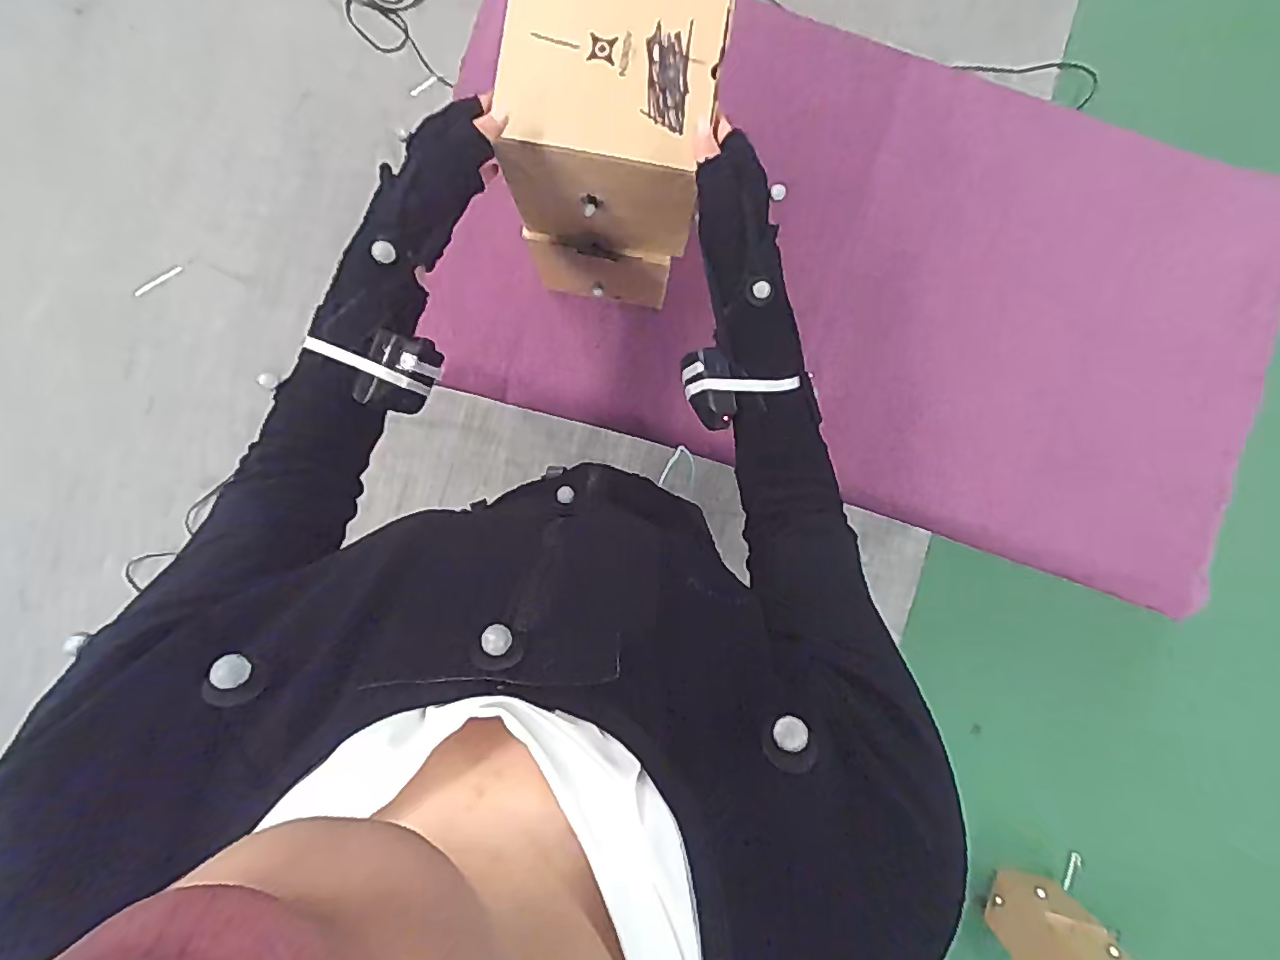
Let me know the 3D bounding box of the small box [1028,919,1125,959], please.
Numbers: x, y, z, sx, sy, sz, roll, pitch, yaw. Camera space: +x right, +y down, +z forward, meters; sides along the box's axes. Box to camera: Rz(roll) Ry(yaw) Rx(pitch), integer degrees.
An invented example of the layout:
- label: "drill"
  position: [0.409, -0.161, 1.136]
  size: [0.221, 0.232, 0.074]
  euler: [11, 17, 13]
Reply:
- label: "small box"
  position: [1.065, 1.204, 1.283]
  size: [0.168, 0.176, 0.179]
  euler: [16, 92, -1]

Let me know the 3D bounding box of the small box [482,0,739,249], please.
- label: "small box"
  position: [-0.024, -0.338, 0.500]
  size: [0.179, 0.176, 0.168]
  euler: [12, 89, -2]

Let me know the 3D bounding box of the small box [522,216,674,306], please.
- label: "small box"
  position: [-0.036, -0.337, 0.667]
  size: [0.168, 0.176, 0.179]
  euler: [11, 91, -1]
